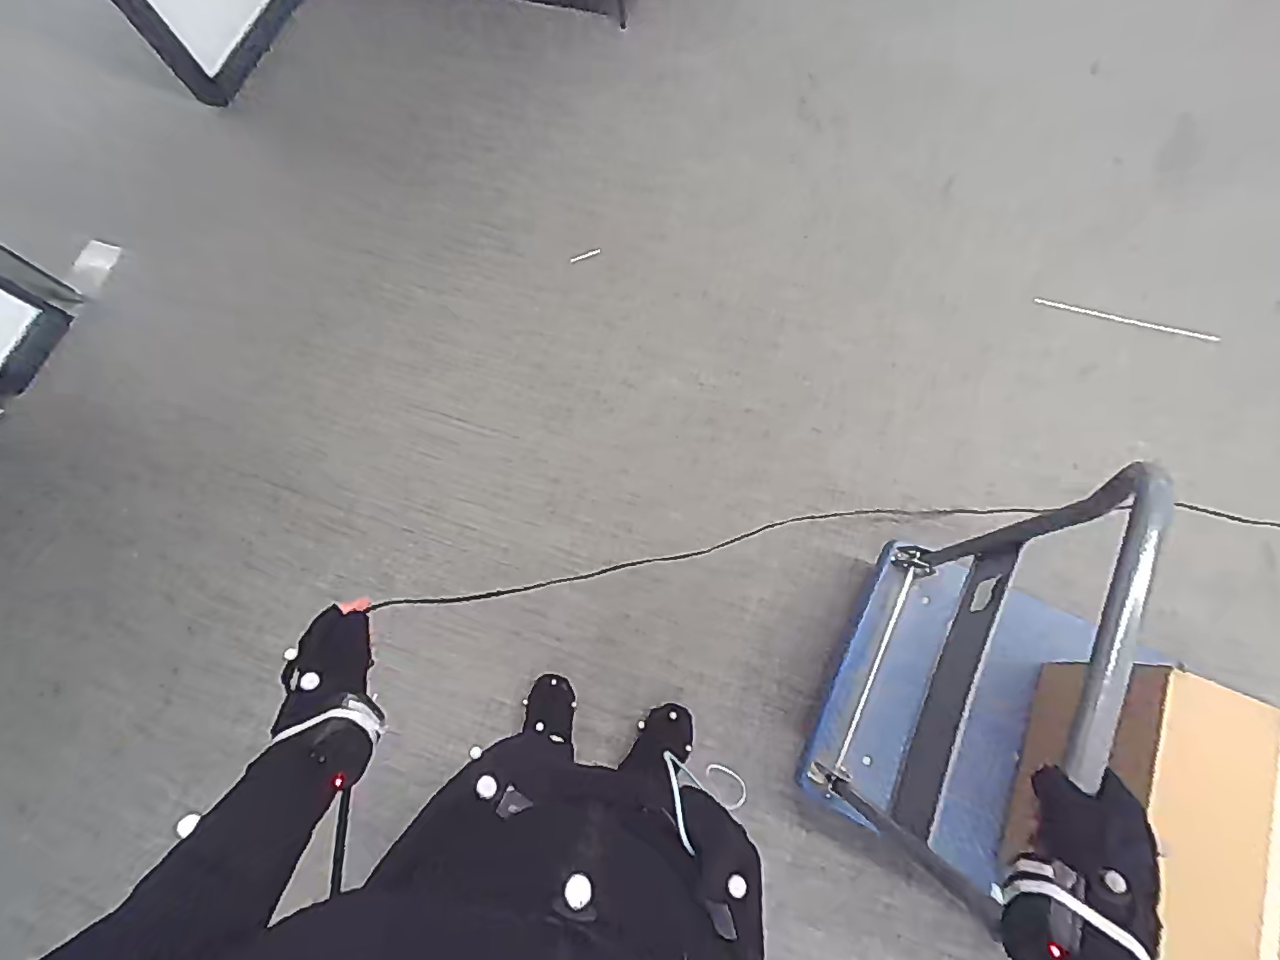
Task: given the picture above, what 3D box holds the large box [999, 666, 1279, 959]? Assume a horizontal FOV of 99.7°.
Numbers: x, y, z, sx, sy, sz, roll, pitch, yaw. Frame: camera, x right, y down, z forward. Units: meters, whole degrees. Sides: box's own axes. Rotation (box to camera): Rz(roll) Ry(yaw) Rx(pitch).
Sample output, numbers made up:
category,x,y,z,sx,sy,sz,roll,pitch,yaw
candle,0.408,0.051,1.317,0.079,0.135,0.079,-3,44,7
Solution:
category,x,y,z,sx,sy,sz,roll,pitch,yaw
large box,0.866,0.563,0.890,0.320,0.320,0.408,22,74,9
